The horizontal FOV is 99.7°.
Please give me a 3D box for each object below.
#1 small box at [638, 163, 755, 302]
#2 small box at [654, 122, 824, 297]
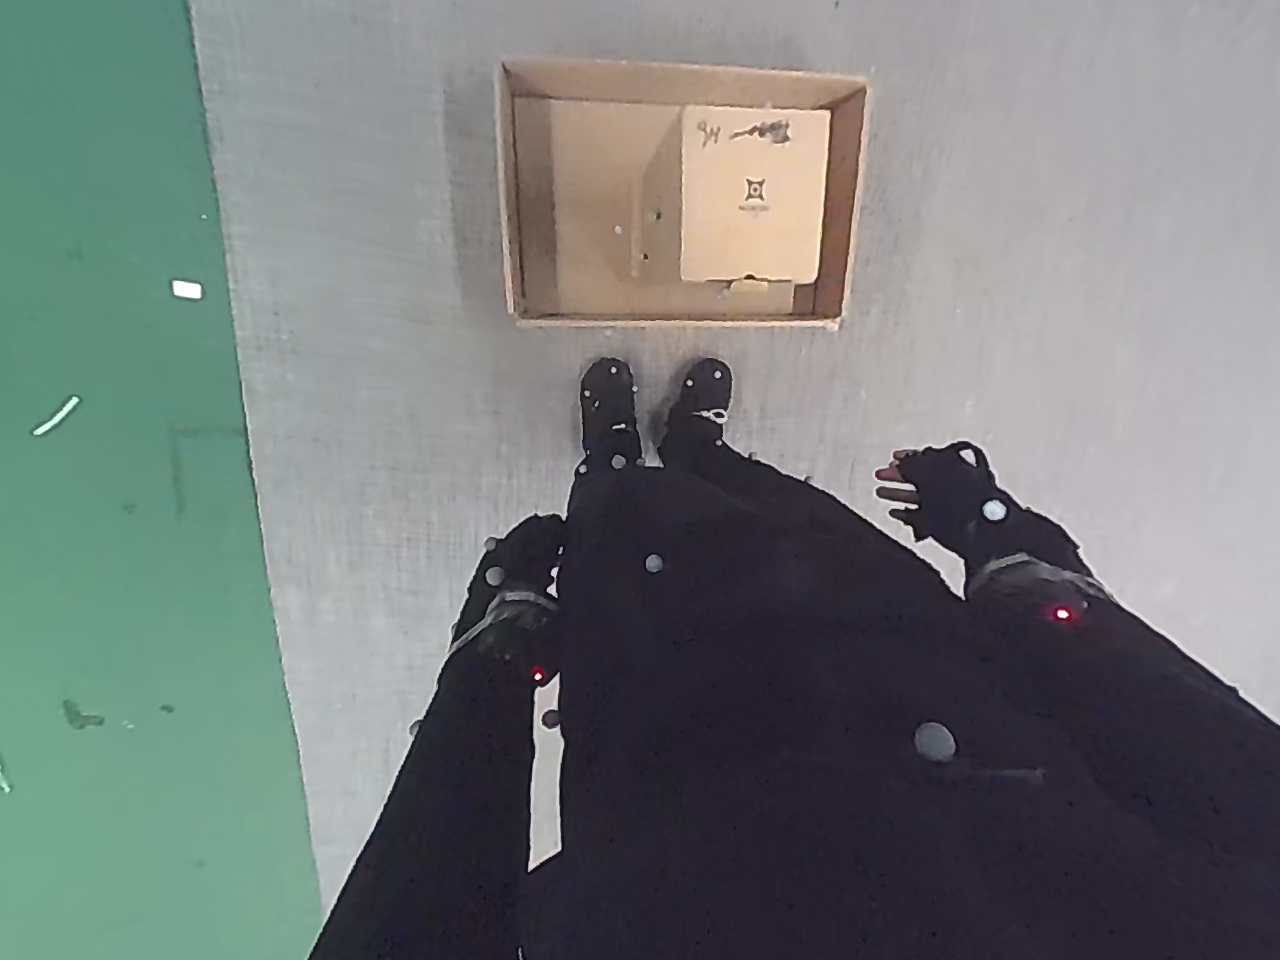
[{"bbox_3d":[0.091,-0.369,0.823,0.168,0.176,0.179,-6,109,-5],"label":"small box"},{"bbox_3d":[0.111,-0.326,0.683,0.168,0.176,0.179,-4,108,-7],"label":"small box"}]
